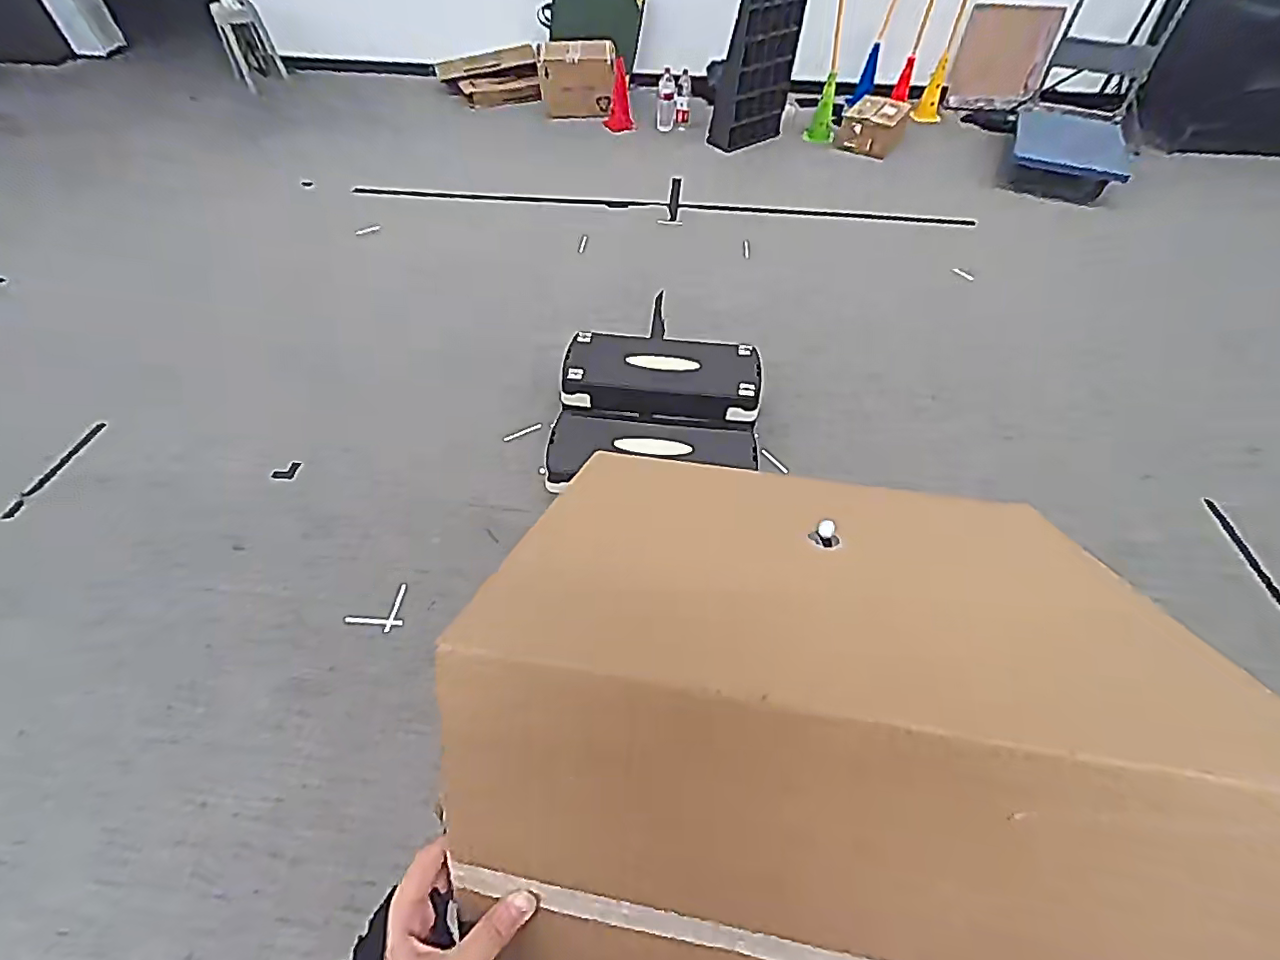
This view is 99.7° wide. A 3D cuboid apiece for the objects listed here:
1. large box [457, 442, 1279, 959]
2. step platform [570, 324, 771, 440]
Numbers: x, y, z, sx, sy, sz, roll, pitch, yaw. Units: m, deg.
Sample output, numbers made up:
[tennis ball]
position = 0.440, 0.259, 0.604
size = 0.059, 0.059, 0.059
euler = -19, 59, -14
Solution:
[large box]
position = 0.125, 0.169, 0.413
size = 0.408, 0.320, 0.320
euler = 6, 22, 8
[step platform]
position = 0.106, -0.347, 1.879
size = 0.684, 0.204, 0.286
euler = 10, 52, 5
